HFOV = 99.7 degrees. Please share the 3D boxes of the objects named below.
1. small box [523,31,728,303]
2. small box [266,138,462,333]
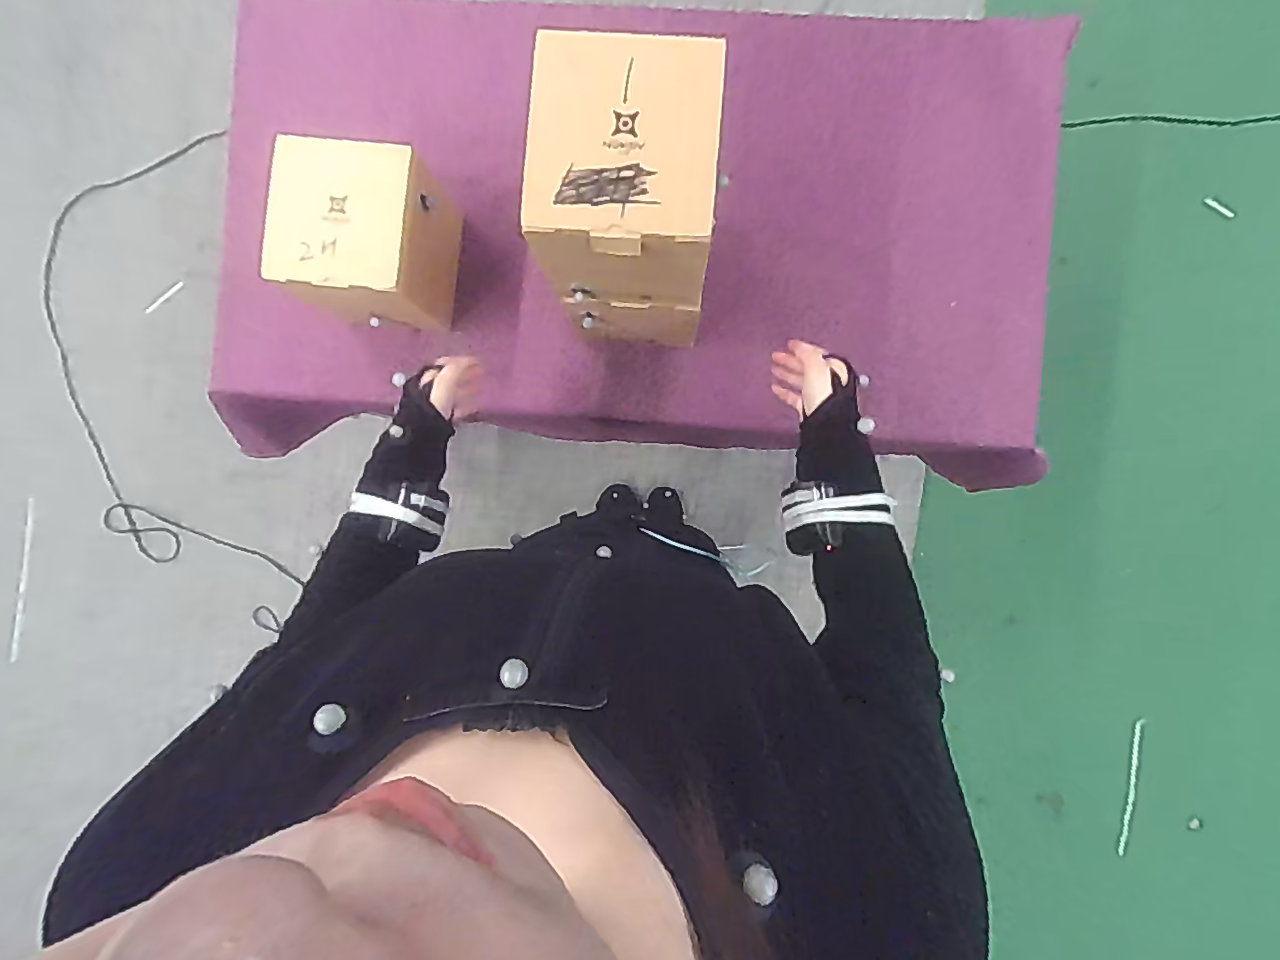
[{"bbox_3d":[-0.009,-0.291,0.539,0.168,0.176,0.179,4,88,2],"label":"small box"},{"bbox_3d":[-0.349,-0.311,0.717,0.168,0.176,0.179,6,89,2],"label":"small box"}]
